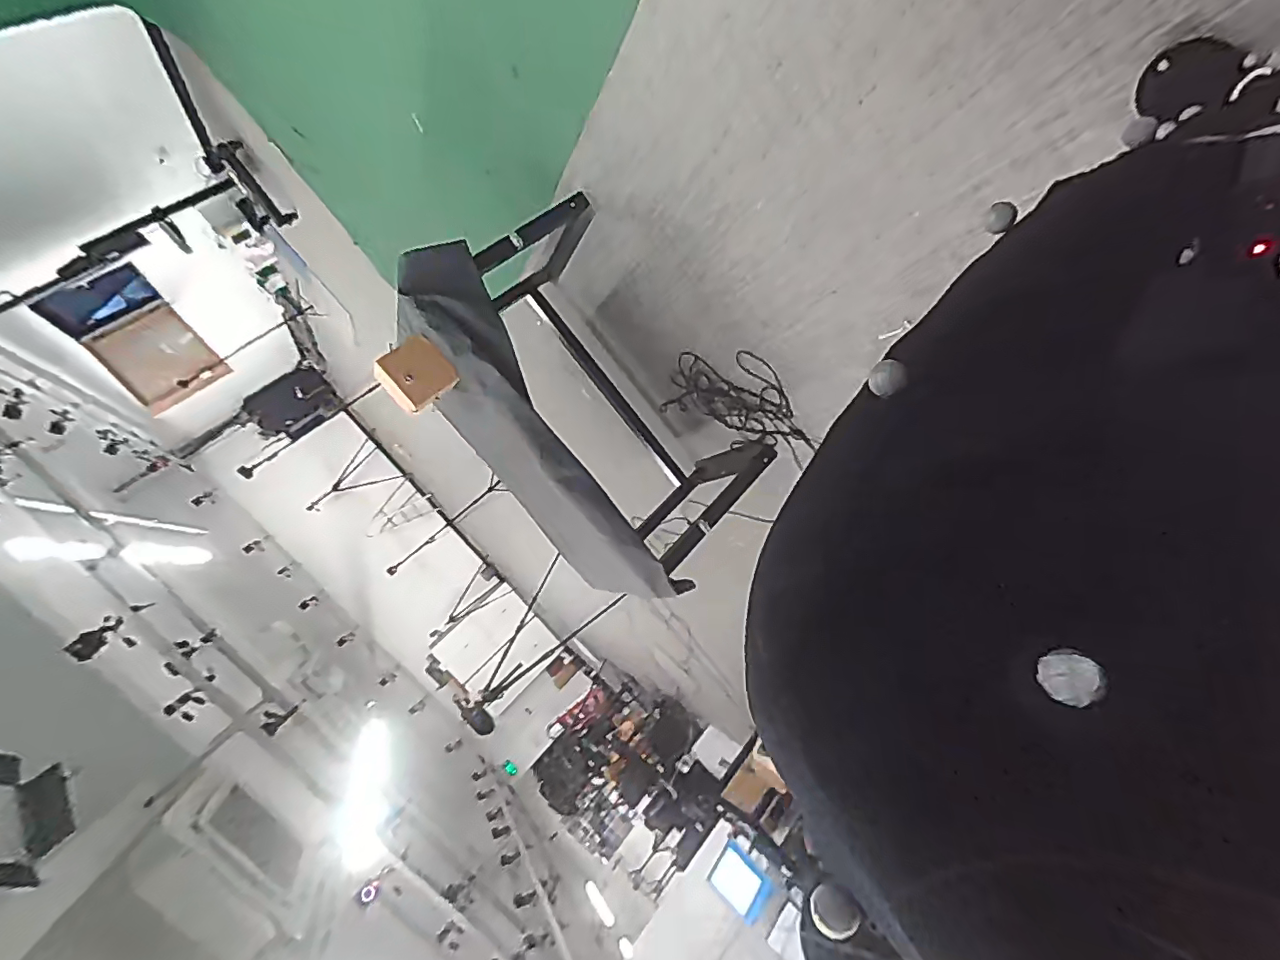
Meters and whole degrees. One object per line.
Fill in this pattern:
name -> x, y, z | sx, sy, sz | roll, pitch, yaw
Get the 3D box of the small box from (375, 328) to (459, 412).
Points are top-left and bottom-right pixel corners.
small box -> -0.693, -0.340, 1.683 | 0.179, 0.176, 0.168 | 54, 155, -15
